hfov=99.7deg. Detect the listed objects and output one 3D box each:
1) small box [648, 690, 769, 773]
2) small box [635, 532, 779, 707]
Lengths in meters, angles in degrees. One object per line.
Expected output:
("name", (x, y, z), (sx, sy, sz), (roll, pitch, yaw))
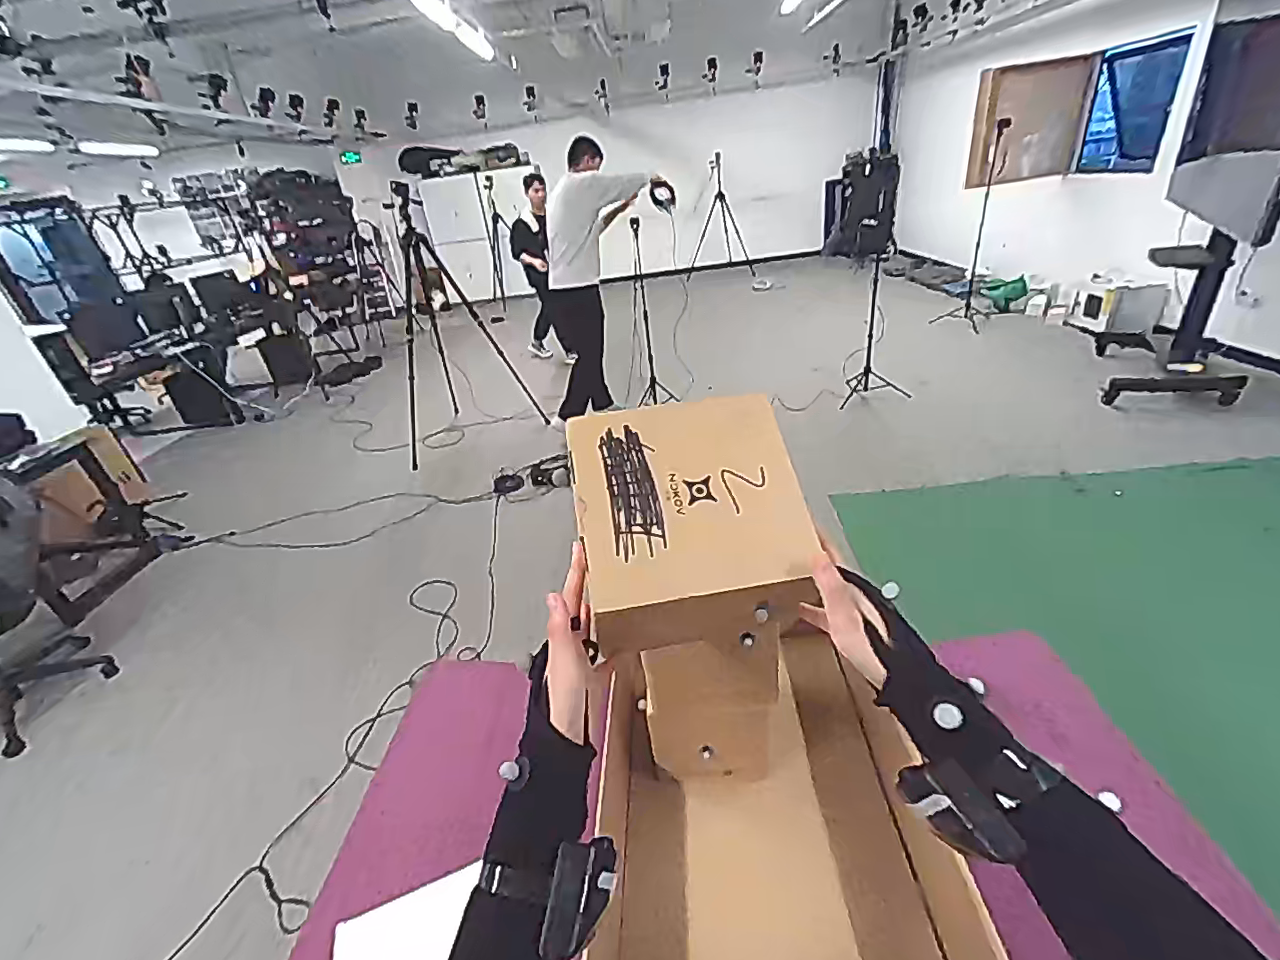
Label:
("small box", (0.106, 0.331, 0.838), (0.168, 0.176, 0.179), (-5, 31, 6))
("small box", (0.091, 0.194, 0.753), (0.179, 0.176, 0.168), (-6, 31, 4))
